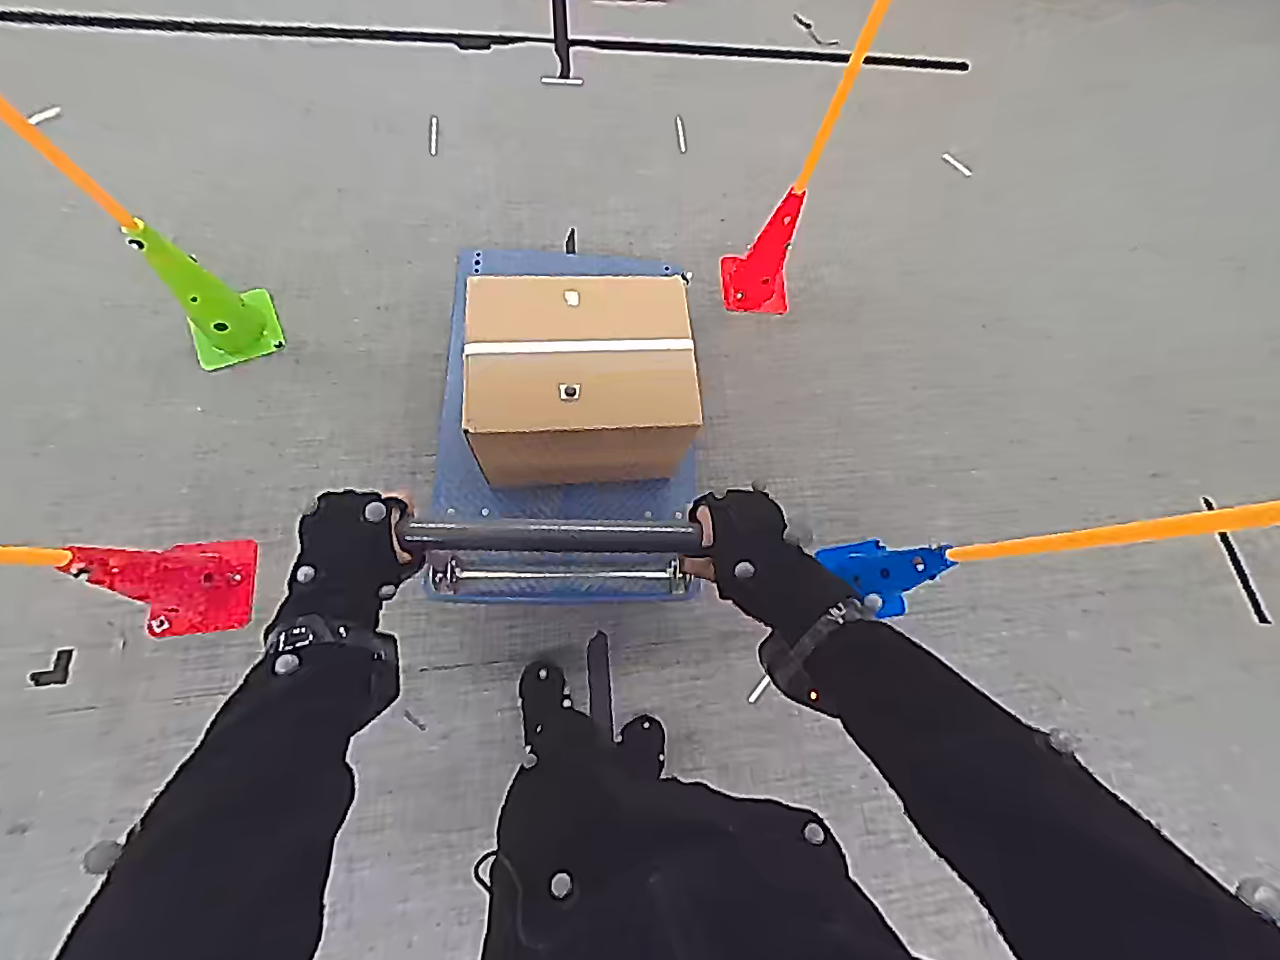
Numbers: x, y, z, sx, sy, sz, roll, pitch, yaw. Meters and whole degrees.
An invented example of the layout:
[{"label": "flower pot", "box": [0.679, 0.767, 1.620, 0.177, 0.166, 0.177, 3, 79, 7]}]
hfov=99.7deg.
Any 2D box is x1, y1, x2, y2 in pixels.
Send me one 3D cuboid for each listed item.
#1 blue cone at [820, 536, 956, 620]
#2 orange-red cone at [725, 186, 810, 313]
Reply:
[{"label": "blue cone", "box": [0.590, 0.200, 1.237, 0.193, 0.380, 0.192, -7, 71, -10]}, {"label": "orange-red cone", "box": [0.377, -0.651, 1.483, 0.199, 0.360, 0.198, 3, 72, -7]}]
